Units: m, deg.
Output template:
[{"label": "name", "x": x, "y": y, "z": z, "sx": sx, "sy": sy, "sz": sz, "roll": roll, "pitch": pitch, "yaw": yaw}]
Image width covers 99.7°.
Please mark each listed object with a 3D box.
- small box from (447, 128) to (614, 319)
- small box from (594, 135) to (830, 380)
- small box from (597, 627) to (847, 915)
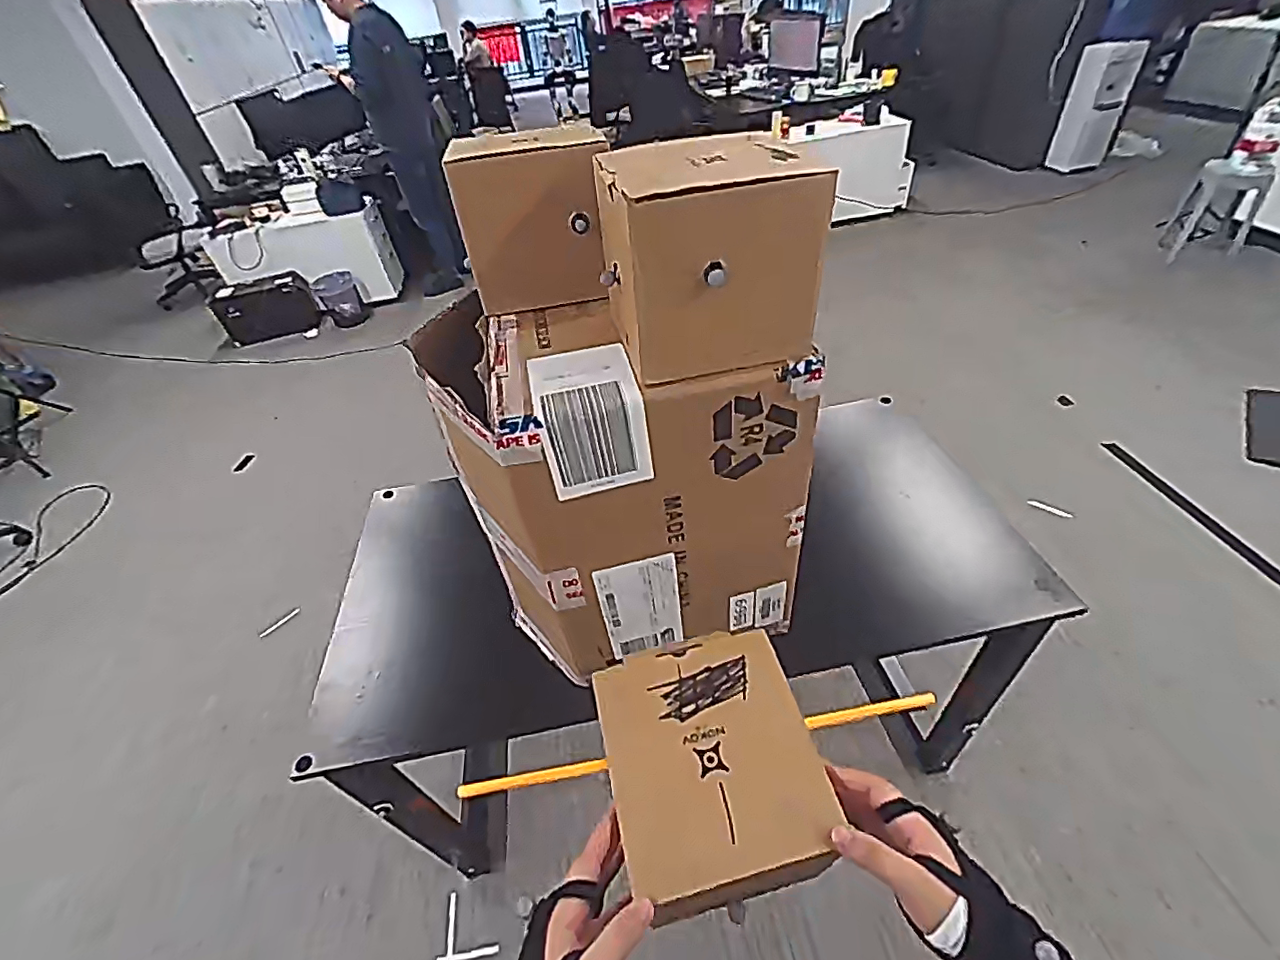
[{"label": "small box", "x": -0.123, "y": -0.321, "z": 0.676, "sx": 0.179, "sy": 0.176, "sz": 0.168, "roll": -12, "pitch": 39, "yaw": -6}, {"label": "small box", "x": 0.062, "y": -0.218, "z": 0.537, "sx": 0.179, "sy": 0.176, "sz": 0.168, "roll": -12, "pitch": 45, "yaw": -5}, {"label": "small box", "x": 0.062, "y": 0.270, "z": 0.505, "sx": 0.168, "sy": 0.176, "sz": 0.179, "roll": -13, "pitch": 47, "yaw": -6}]
